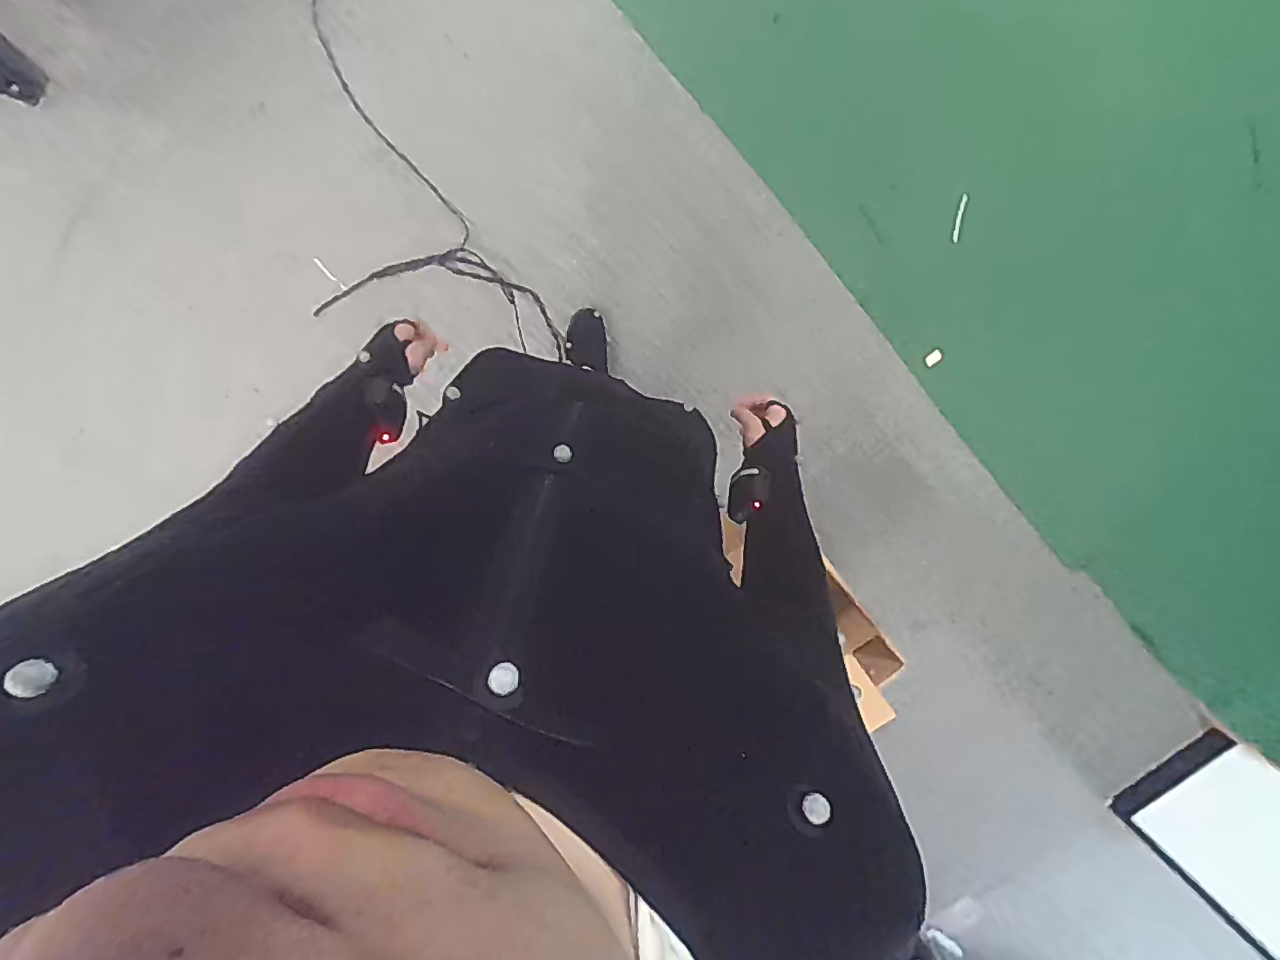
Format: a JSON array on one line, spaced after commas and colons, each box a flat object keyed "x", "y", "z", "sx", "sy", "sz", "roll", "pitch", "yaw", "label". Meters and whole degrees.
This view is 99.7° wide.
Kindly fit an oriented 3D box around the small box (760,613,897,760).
[{"x": 0.367, "y": 0.403, "z": 1.078, "sx": 0.168, "sy": 0.176, "sz": 0.179, "roll": -36, "pitch": 103, "yaw": 8, "label": "small box"}]
